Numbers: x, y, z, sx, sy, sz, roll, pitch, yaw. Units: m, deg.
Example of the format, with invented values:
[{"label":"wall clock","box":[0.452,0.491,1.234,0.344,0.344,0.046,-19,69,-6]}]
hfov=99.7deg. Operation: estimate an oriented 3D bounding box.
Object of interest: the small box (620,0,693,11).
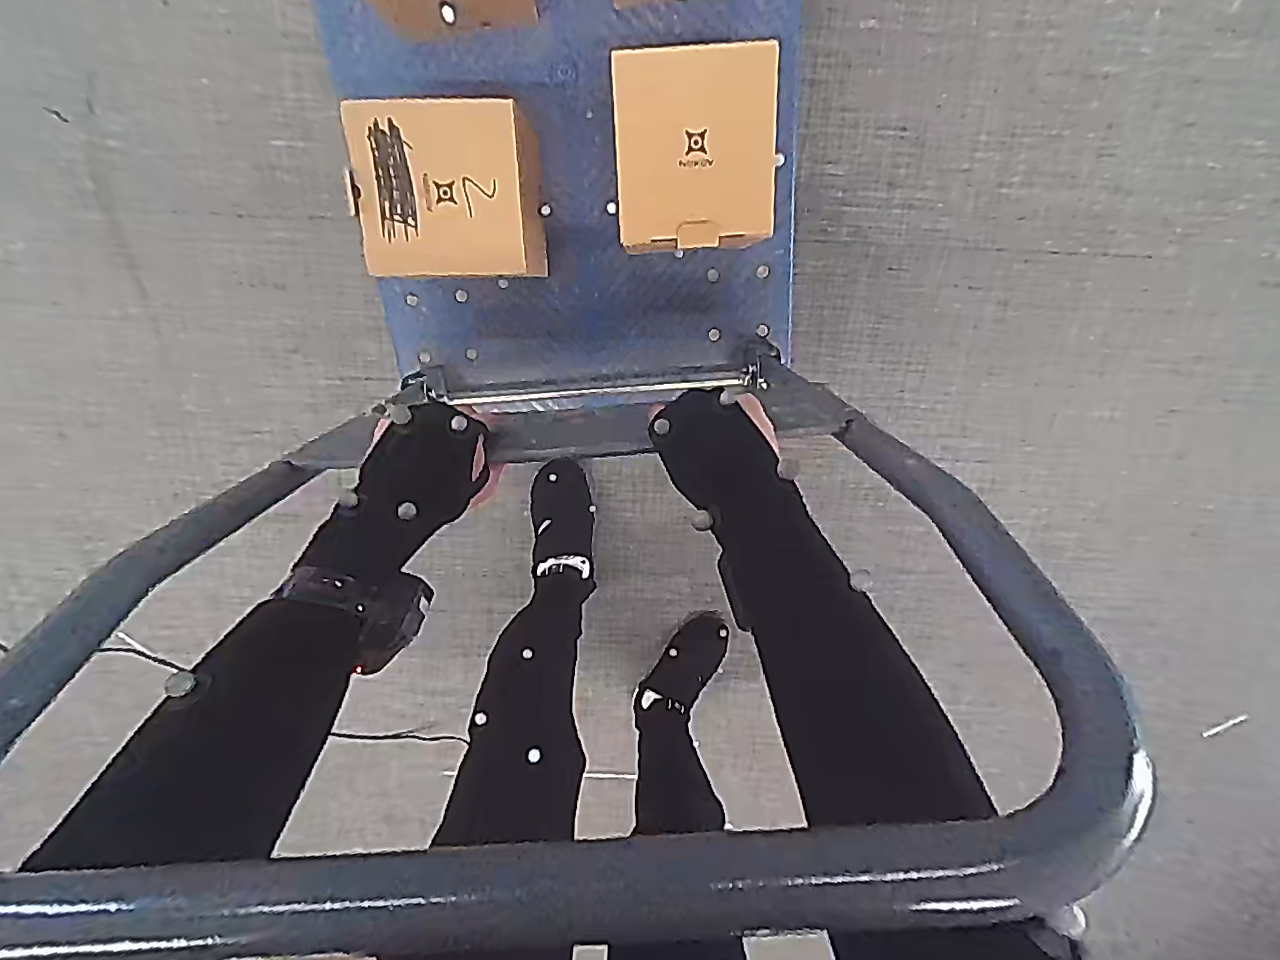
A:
[{"label":"small box","box":[0.039,-0.617,0.534,0.168,0.176,0.179,-7,111,3]}]

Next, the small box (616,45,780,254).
[{"label":"small box","box":[0.058,-0.365,0.629,0.168,0.176,0.179,-3,111,1]}]

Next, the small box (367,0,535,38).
[{"label":"small box","box":[-0.211,-0.584,0.546,0.168,0.176,0.179,-7,110,2]}]
